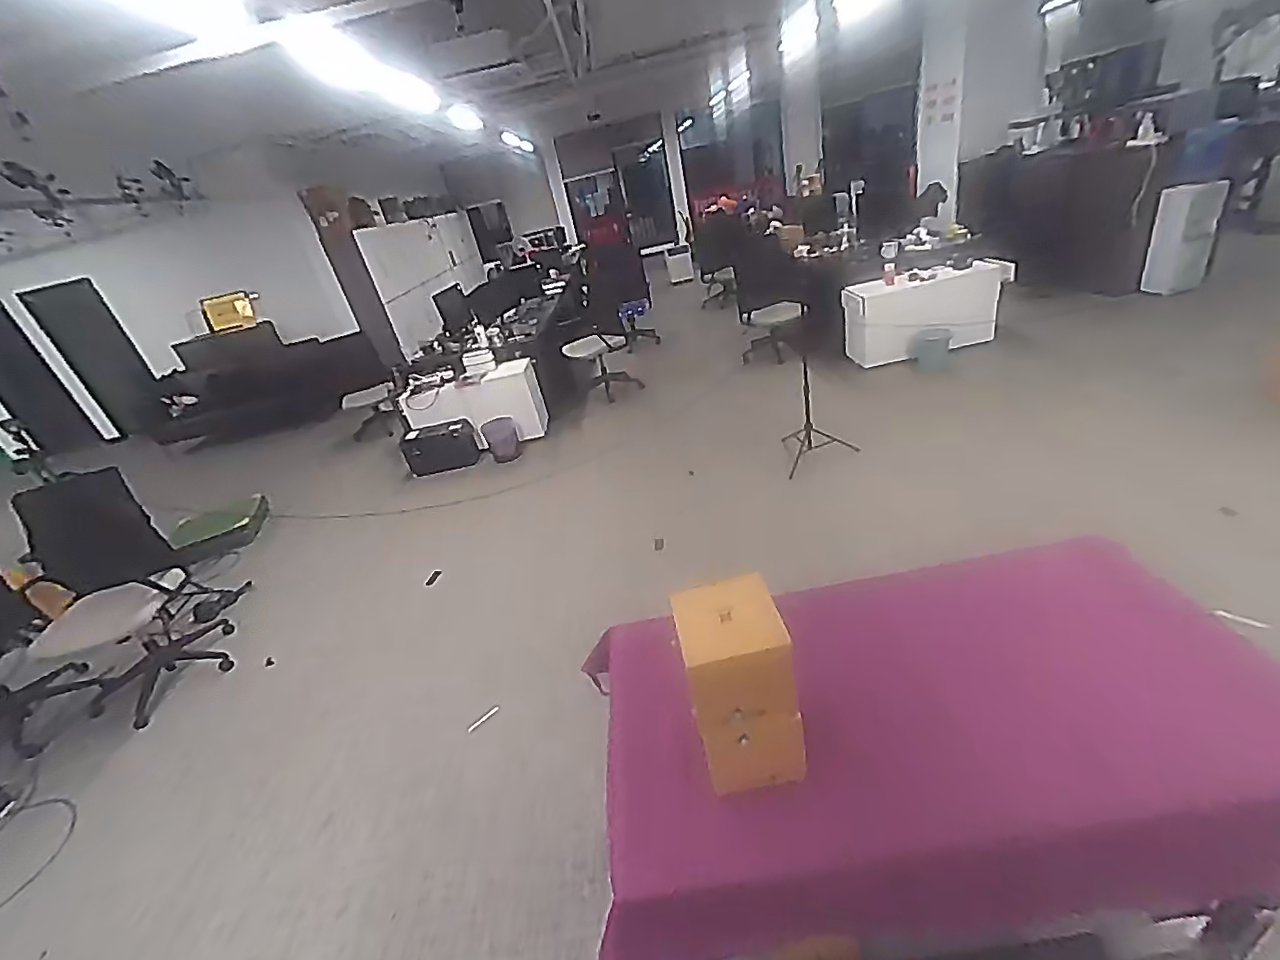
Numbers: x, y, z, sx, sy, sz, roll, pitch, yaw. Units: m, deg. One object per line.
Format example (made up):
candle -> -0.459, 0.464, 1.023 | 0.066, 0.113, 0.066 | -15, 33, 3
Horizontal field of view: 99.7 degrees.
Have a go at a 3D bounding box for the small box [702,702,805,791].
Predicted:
small box -> 0.195, 0.429, 0.993 | 0.168, 0.176, 0.179 | -13, 28, 2

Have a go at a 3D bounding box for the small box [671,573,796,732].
small box -> 0.155, 0.289, 0.918 | 0.168, 0.176, 0.179 | -13, 29, 1
